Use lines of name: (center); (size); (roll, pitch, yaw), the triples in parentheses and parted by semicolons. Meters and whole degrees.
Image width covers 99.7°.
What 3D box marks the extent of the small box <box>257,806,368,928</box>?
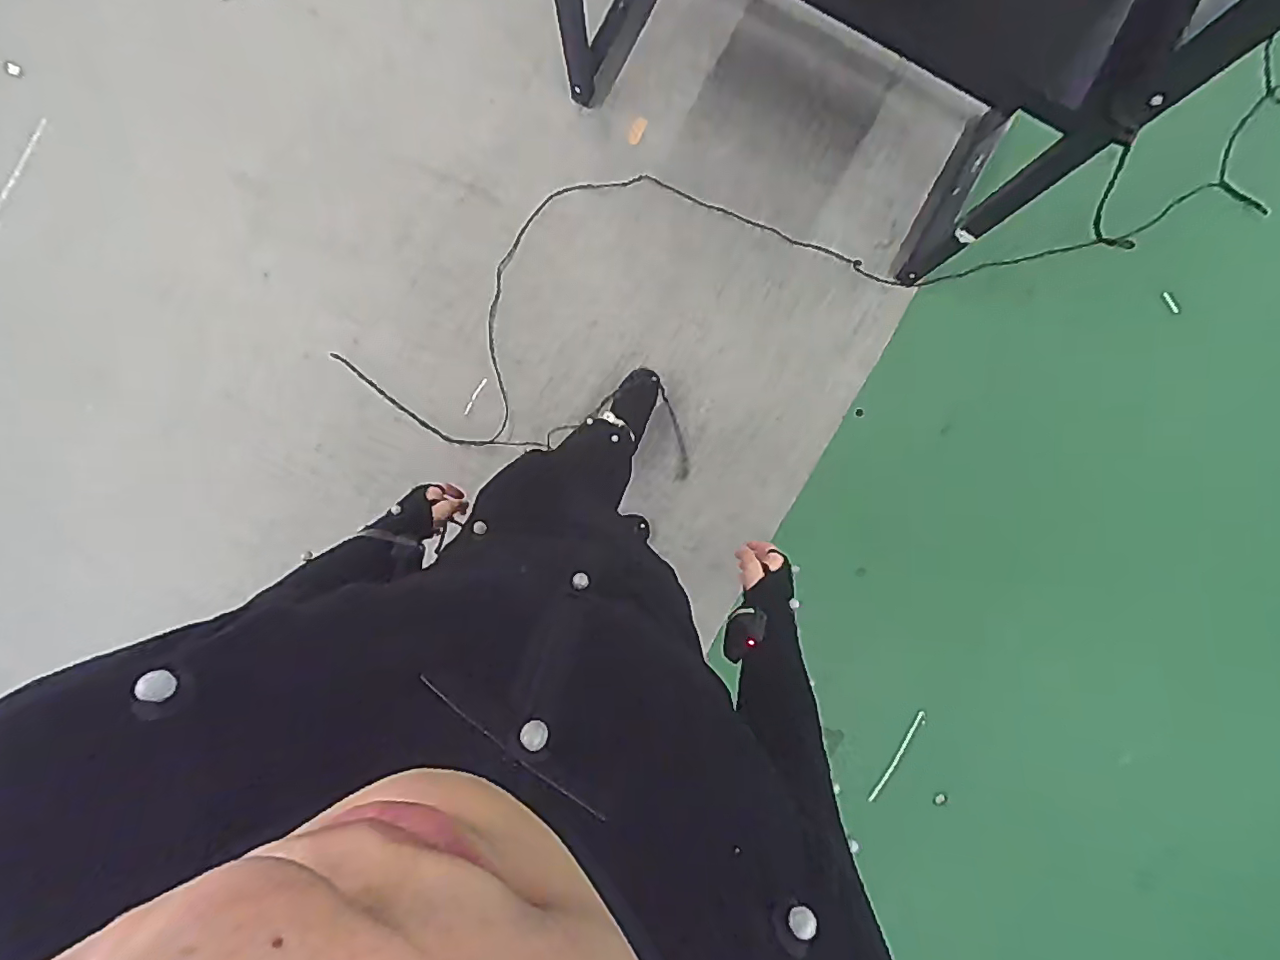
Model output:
small box: (-0.884, 1.048, 1.482); (0.168, 0.176, 0.179); (32, 91, 0)
